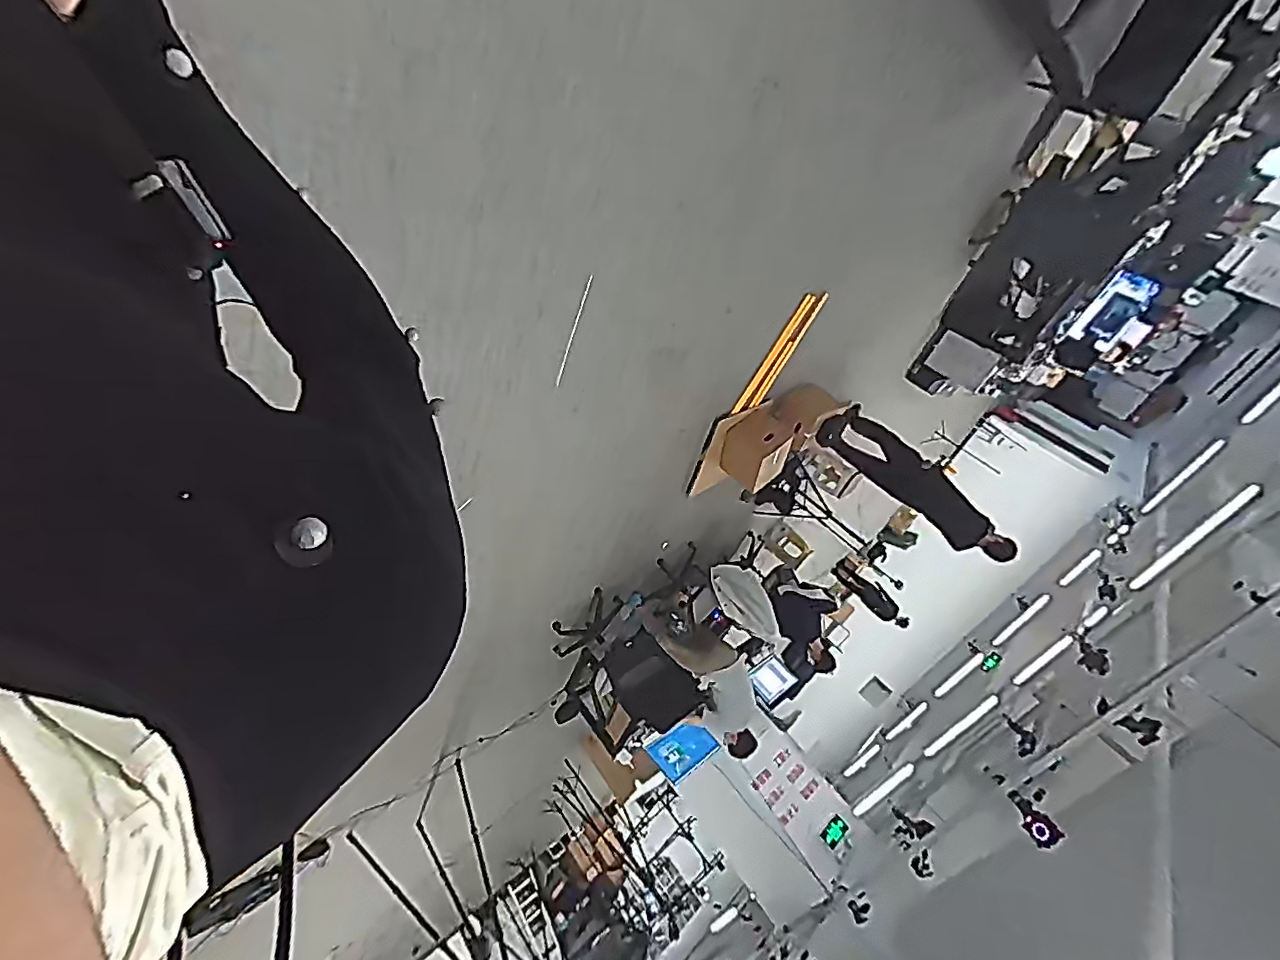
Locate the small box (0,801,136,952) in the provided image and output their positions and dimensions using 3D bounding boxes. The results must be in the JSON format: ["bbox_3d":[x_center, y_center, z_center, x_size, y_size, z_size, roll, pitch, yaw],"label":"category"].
[{"bbox_3d":[-1.130,0.785,1.074,0.168,0.176,0.179,-16,139,-44],"label":"small box"}]

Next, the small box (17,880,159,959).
[{"bbox_3d":[-1.031,0.907,1.018,0.168,0.176,0.179,-11,137,-47],"label":"small box"}]
